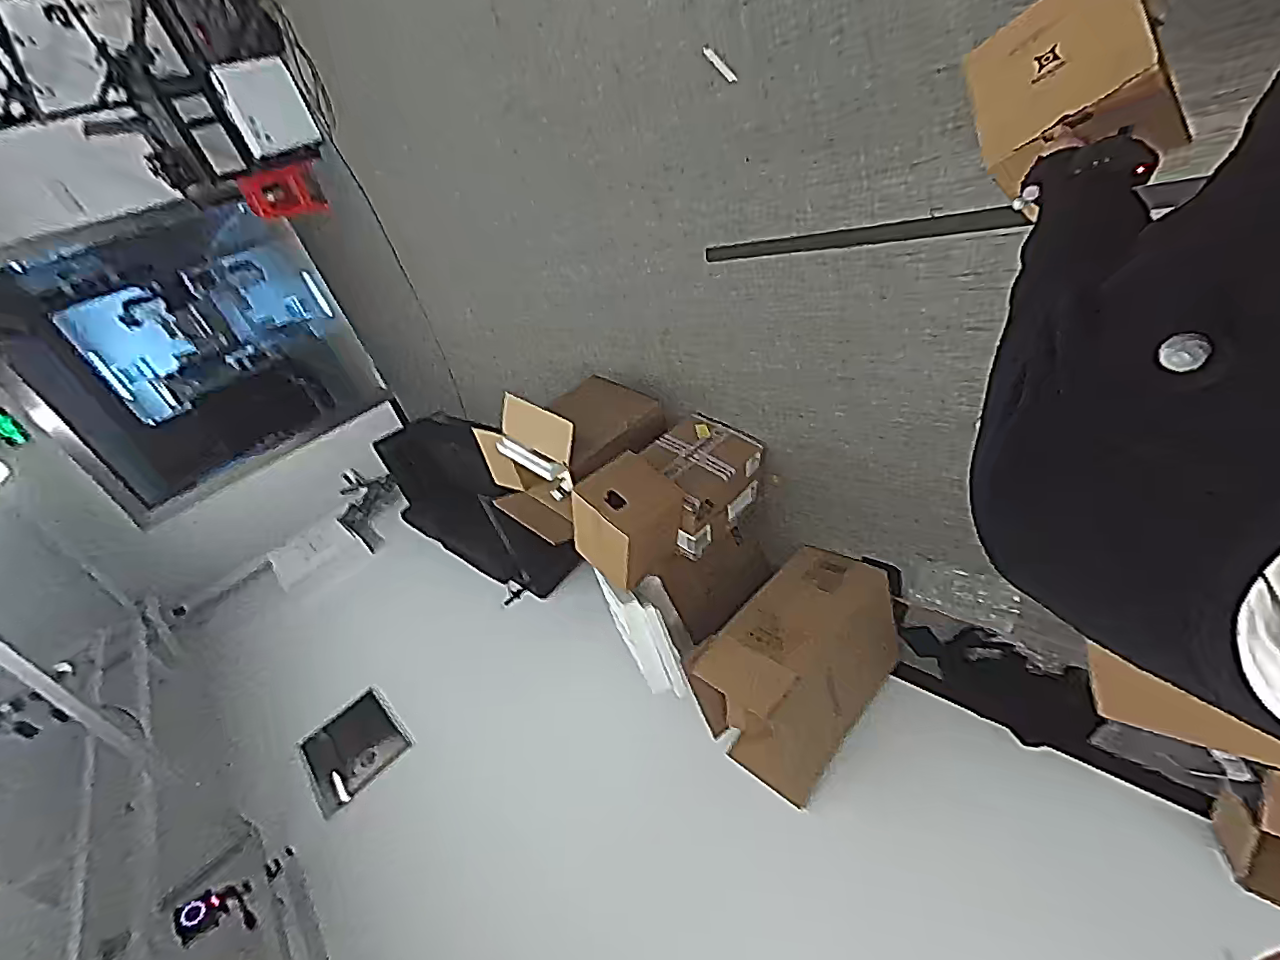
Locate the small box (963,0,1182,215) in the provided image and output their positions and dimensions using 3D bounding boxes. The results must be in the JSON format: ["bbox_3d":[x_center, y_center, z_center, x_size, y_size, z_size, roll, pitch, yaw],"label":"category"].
[{"bbox_3d":[0.543,-0.469,0.683,0.168,0.176,0.179,-18,67,50],"label":"small box"}]
